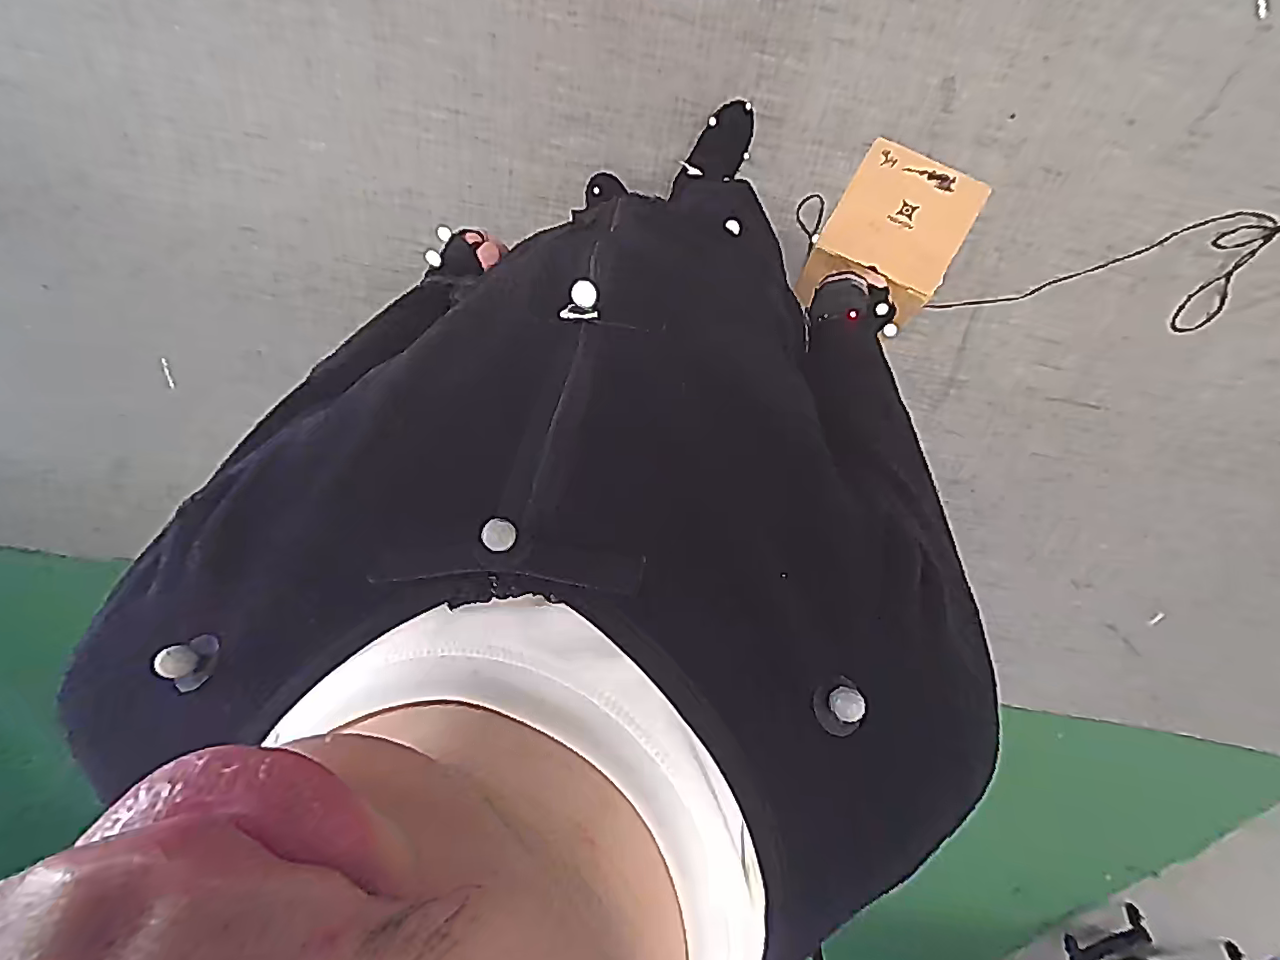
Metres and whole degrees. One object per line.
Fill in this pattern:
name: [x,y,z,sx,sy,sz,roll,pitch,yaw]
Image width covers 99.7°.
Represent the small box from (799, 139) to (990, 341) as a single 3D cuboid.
small box: [0.349,-0.332,0.785,0.168,0.176,0.179,31,86,8]
